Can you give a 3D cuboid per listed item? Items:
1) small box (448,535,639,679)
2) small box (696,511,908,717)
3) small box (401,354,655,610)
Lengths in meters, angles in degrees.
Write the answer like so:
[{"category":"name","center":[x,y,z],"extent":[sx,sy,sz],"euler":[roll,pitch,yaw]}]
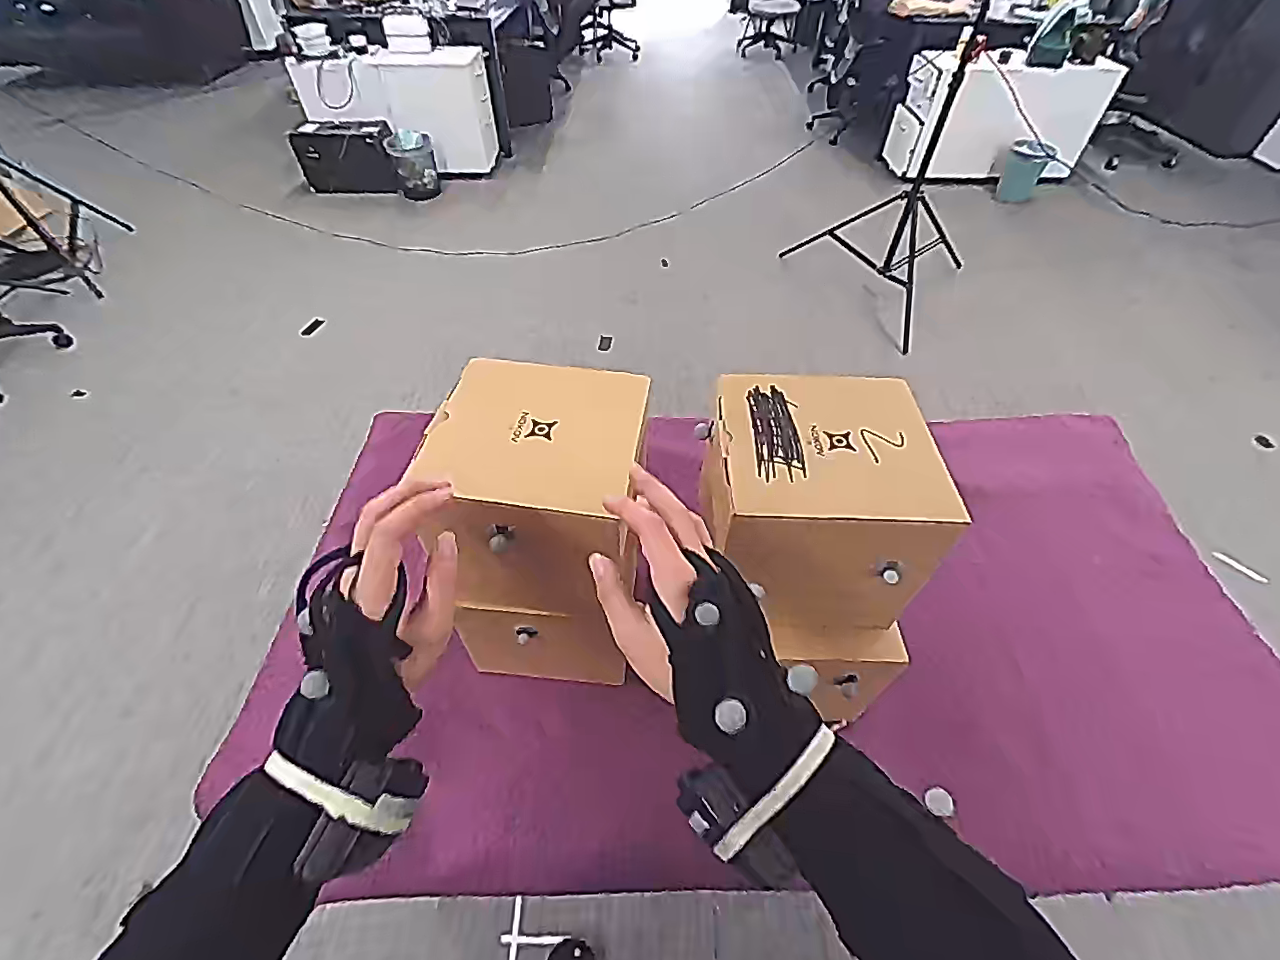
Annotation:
[{"category":"small box","center":[-0.096,0.117,0.630],"extent":[0.179,0.176,0.168],"euler":[5,49,2]},{"category":"small box","center":[0.160,0.152,0.603],"extent":[0.179,0.176,0.168],"euler":[1,48,1]},{"category":"small box","center":[-0.085,0.006,0.511],"extent":[0.179,0.176,0.168],"euler":[7,49,5]}]
